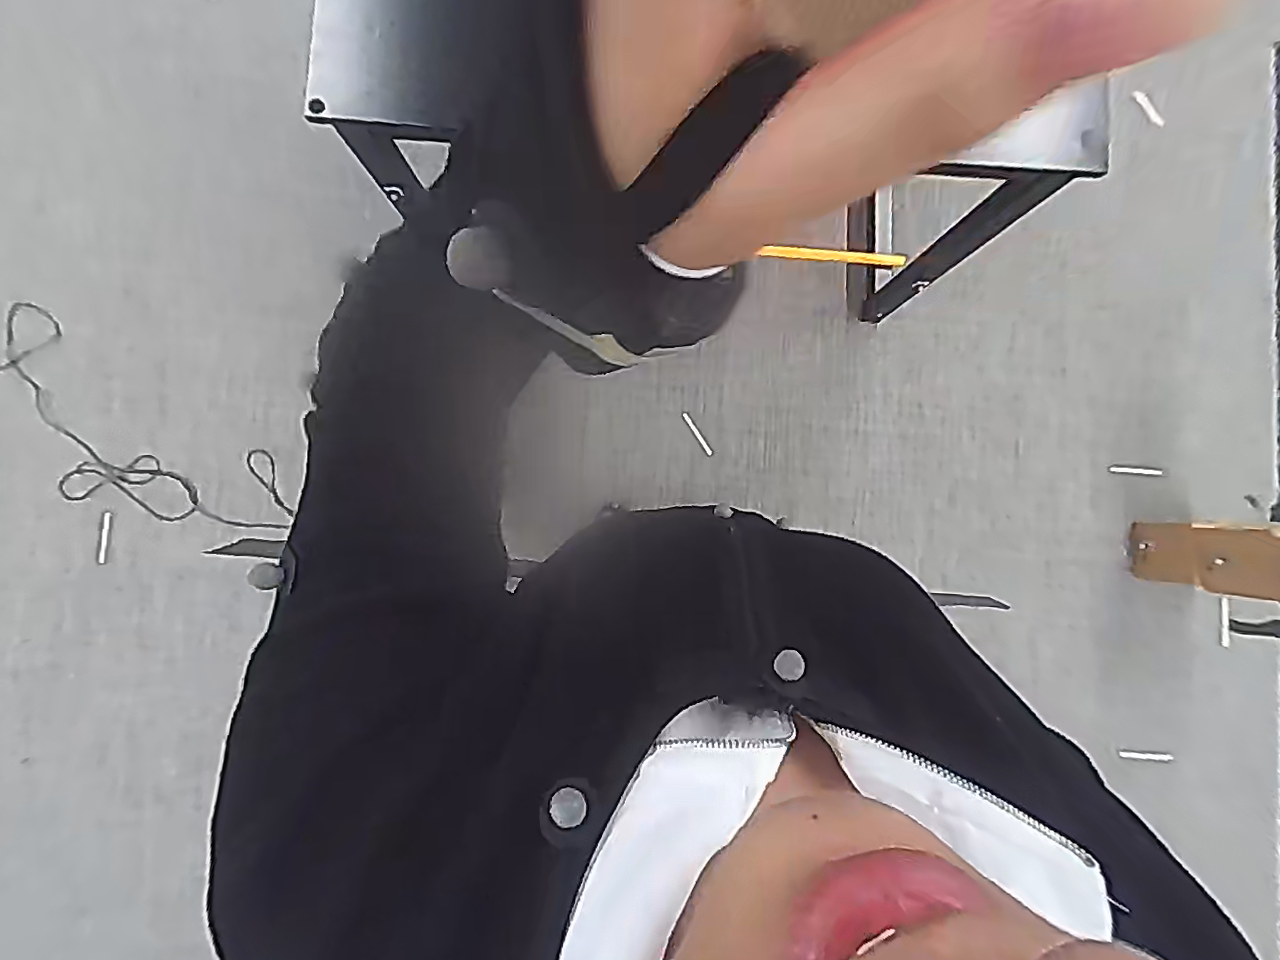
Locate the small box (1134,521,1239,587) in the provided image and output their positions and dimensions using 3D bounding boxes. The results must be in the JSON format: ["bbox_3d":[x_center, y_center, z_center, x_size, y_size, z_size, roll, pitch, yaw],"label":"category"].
[{"bbox_3d":[1.494,0.196,1.458,0.179,0.176,0.168,0,86,0],"label":"small box"}]

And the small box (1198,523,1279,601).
[{"bbox_3d":[1.512,0.190,1.293,0.179,0.176,0.168,-5,86,-2],"label":"small box"}]
